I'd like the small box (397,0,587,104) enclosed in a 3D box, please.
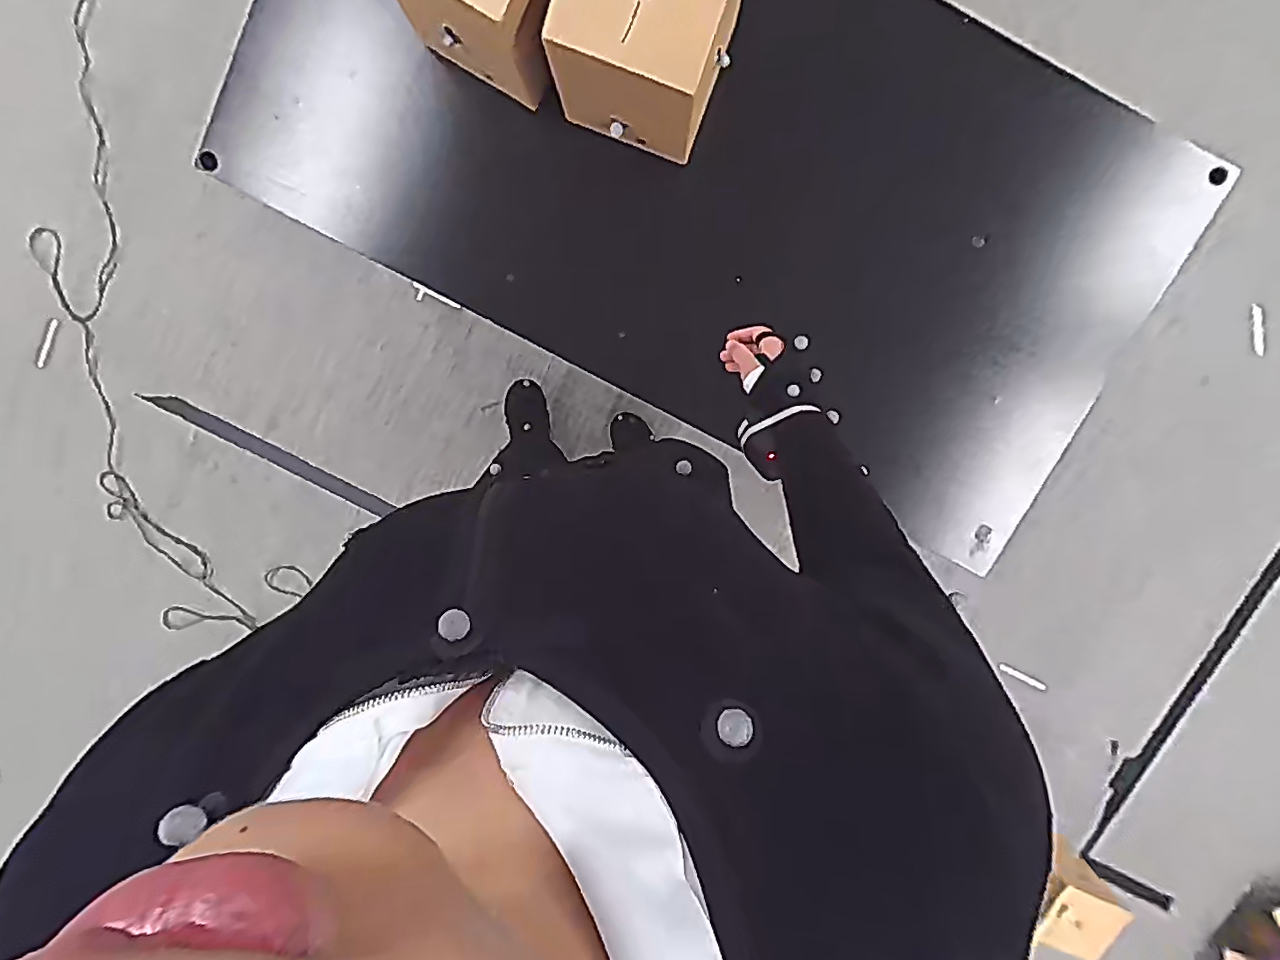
[{"bbox_3d":[-0.167,-0.573,0.599,0.168,0.176,0.179,29,97,-3],"label":"small box"}]

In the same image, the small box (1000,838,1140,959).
[{"bbox_3d":[1.067,1.049,1.357,0.179,0.176,0.168,24,99,-3],"label":"small box"}]
